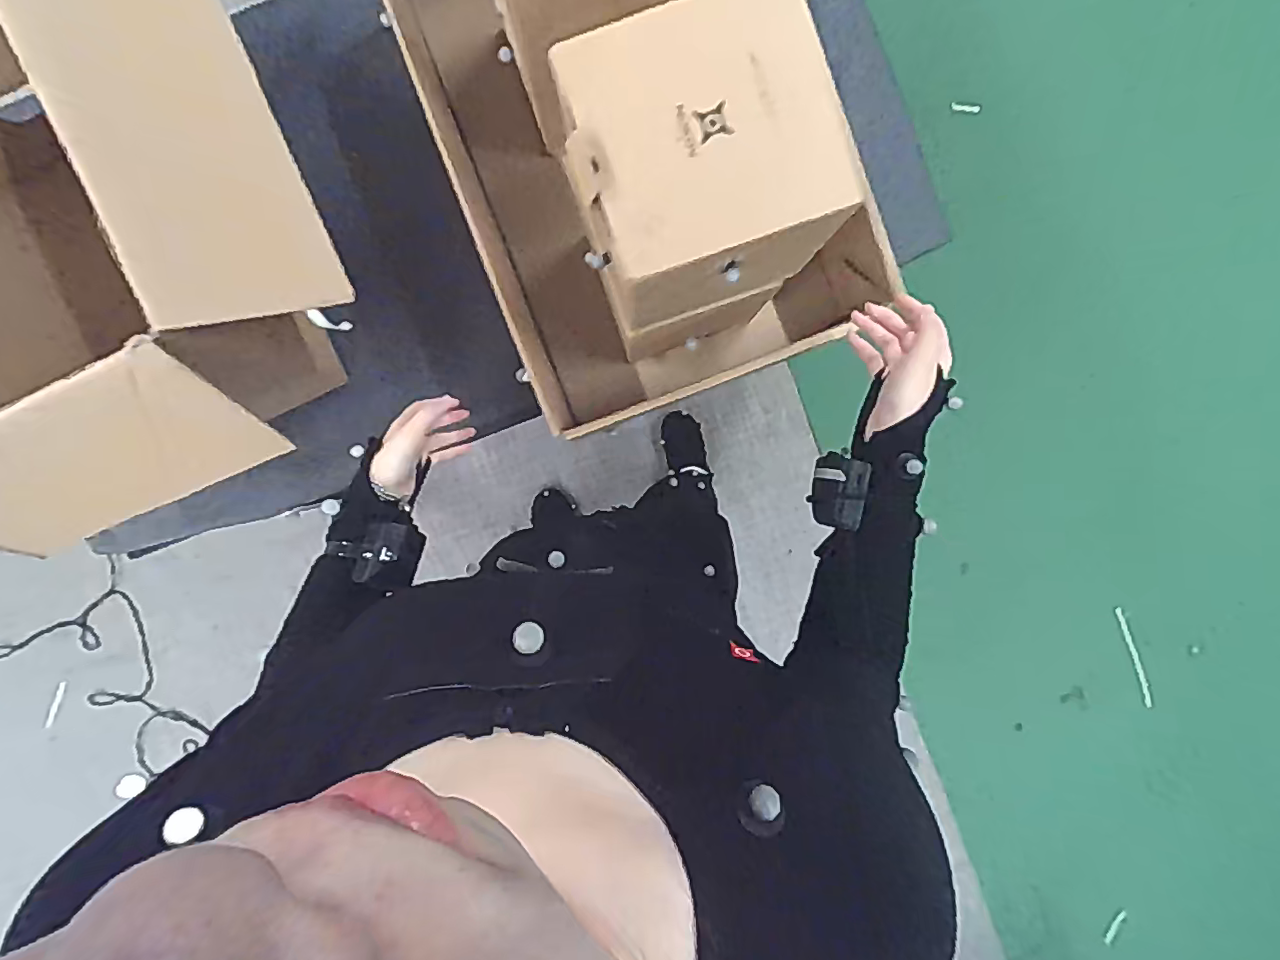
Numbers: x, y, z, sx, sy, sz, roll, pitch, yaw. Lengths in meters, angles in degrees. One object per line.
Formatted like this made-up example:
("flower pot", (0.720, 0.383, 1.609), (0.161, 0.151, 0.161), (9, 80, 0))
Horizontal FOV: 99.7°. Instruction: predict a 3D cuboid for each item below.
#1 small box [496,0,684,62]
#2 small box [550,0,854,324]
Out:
("small box", (-0.057, -0.487, 0.432), (0.179, 0.176, 0.168), (-18, 96, -1))
("small box", (0.043, -0.246, 0.453), (0.179, 0.176, 0.168), (-19, 95, 0))
